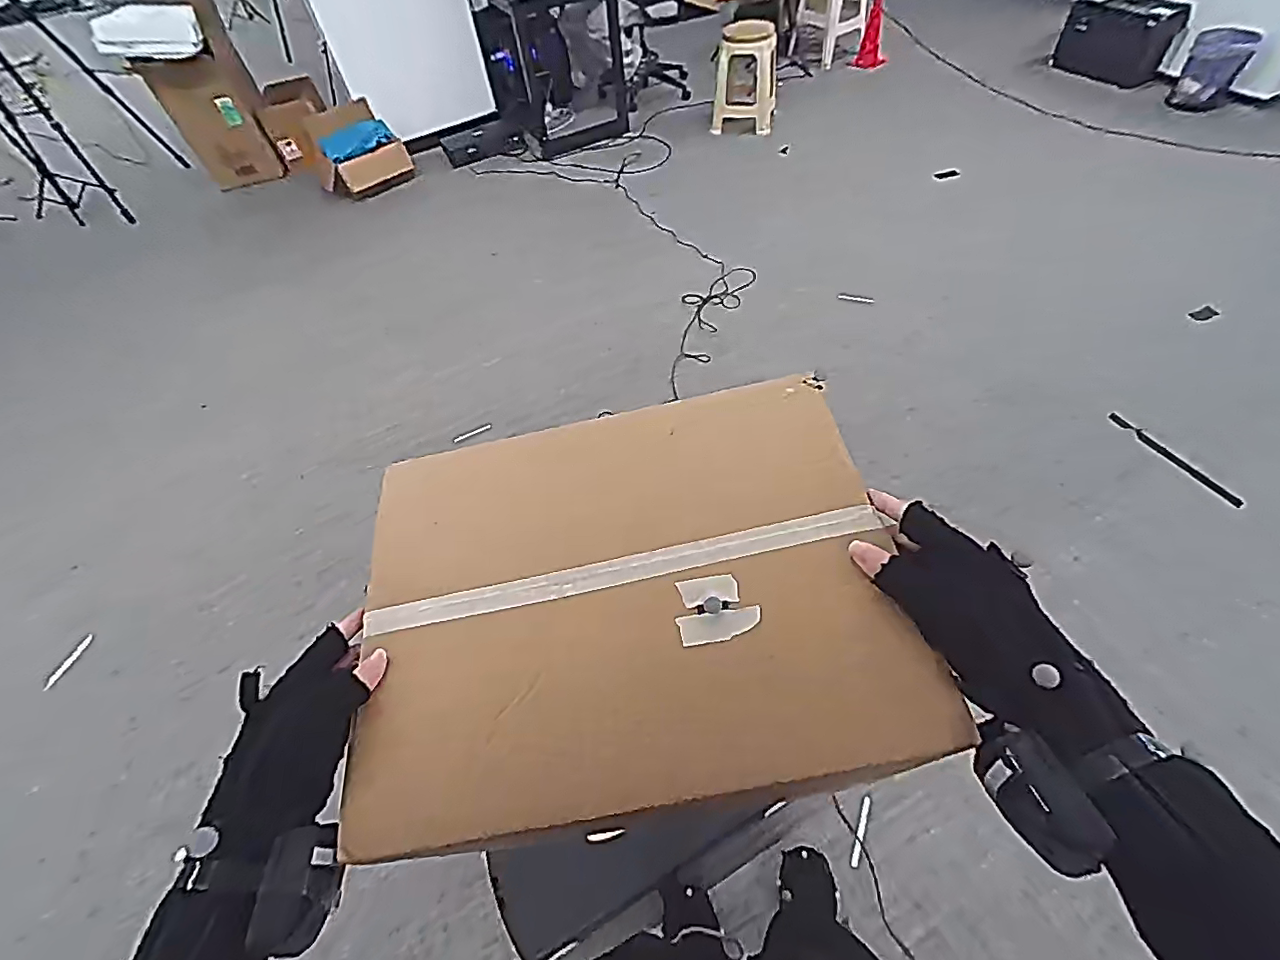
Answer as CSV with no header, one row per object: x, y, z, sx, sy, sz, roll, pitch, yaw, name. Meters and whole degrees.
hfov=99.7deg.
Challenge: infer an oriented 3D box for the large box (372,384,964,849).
0.012,0.156,0.554,0.408,0.320,0.320,-12,57,2,large box
